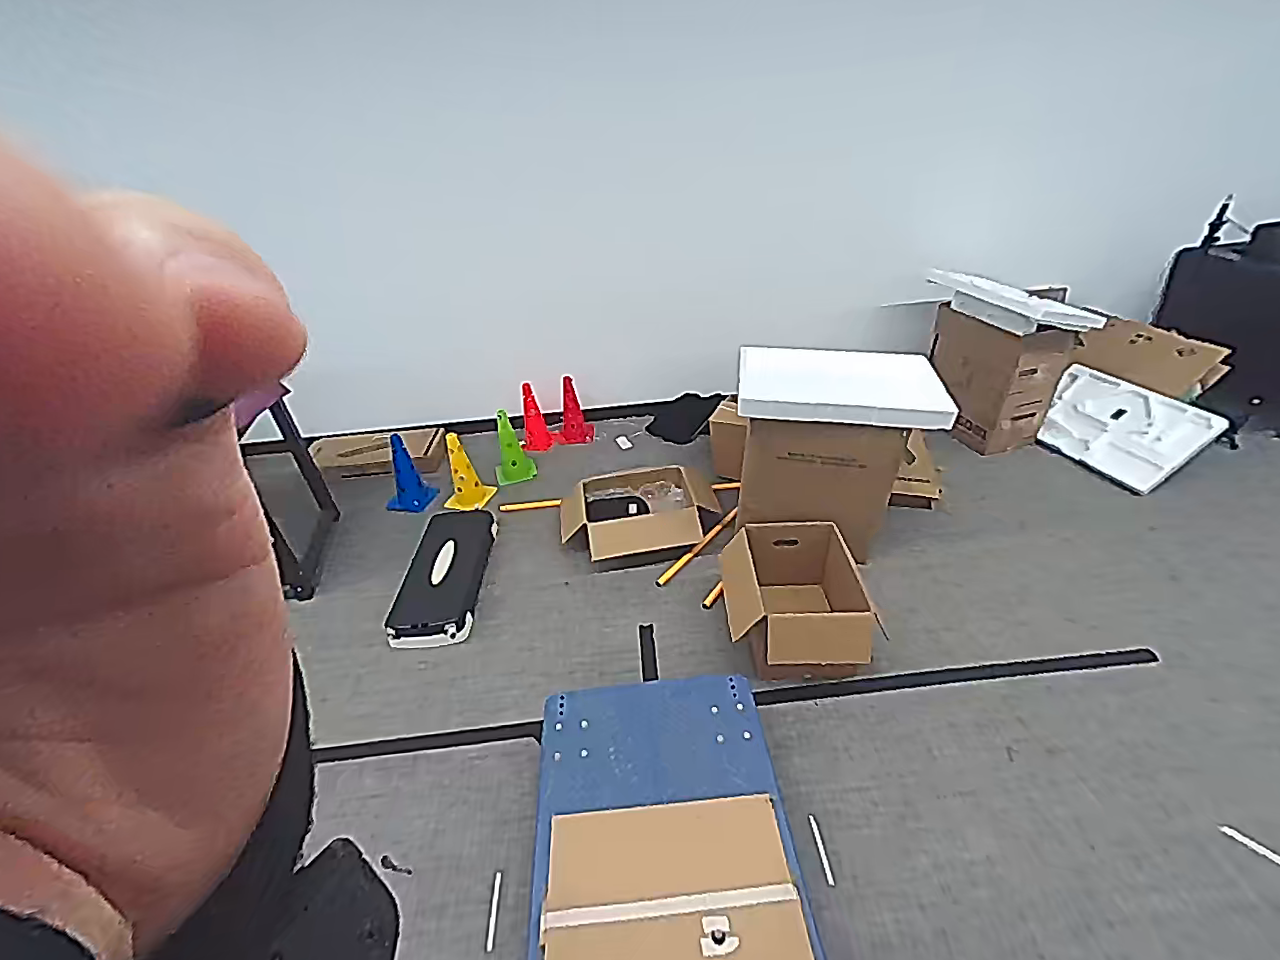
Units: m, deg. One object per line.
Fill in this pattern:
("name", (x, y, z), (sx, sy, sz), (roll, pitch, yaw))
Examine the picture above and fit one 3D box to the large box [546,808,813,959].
("large box", (0.058, 0.816, 0.920), (0.408, 0.320, 0.320), (-5, 35, -2))
